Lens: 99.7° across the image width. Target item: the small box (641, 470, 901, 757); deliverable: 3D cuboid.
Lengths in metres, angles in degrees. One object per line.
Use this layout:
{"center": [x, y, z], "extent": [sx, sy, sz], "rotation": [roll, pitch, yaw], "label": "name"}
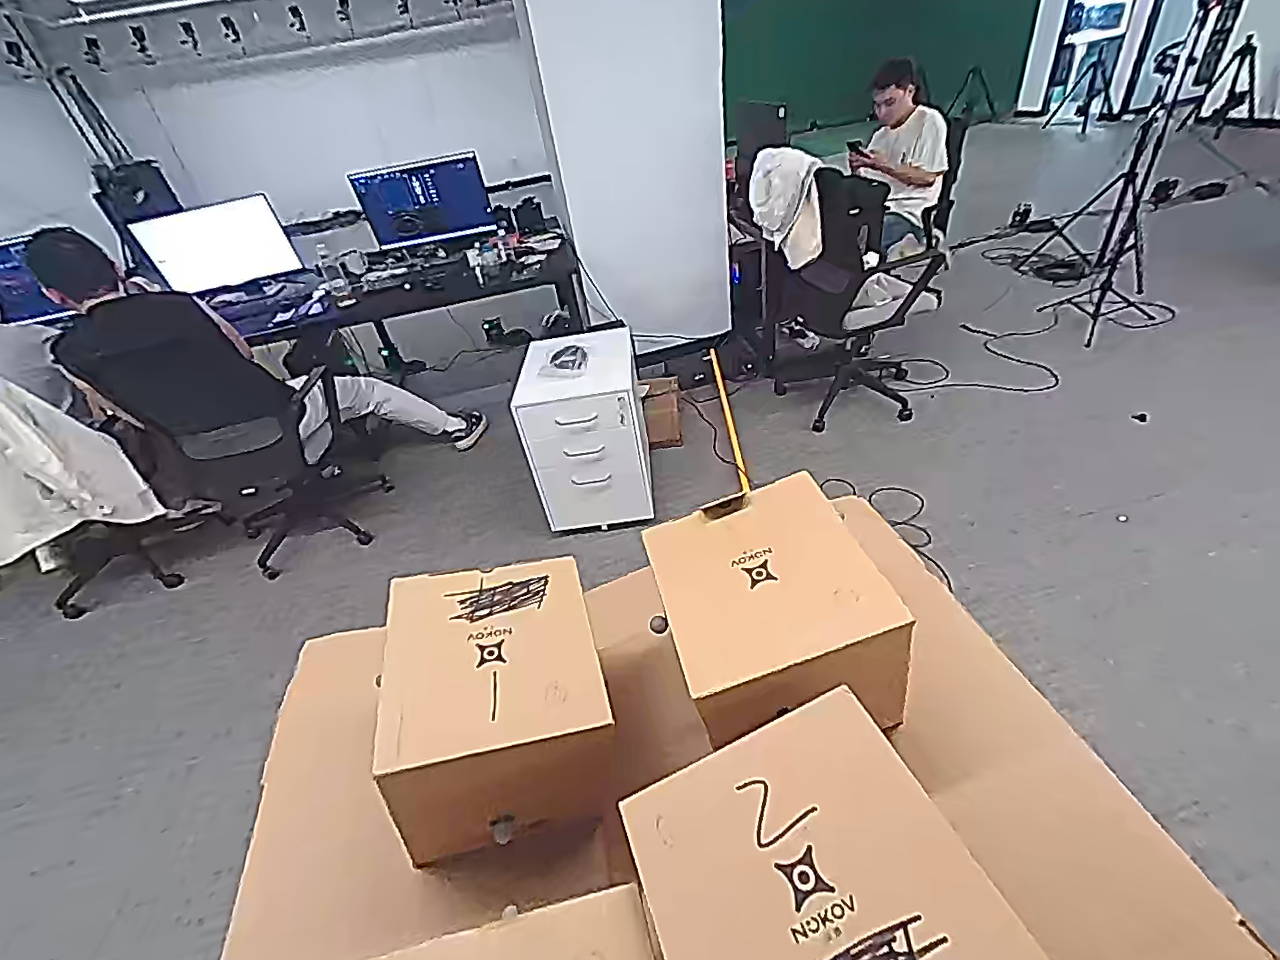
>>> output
{"center": [0.117, 0.127, 0.497], "extent": [0.168, 0.176, 0.179], "rotation": [-20, 39, 1], "label": "small box"}
